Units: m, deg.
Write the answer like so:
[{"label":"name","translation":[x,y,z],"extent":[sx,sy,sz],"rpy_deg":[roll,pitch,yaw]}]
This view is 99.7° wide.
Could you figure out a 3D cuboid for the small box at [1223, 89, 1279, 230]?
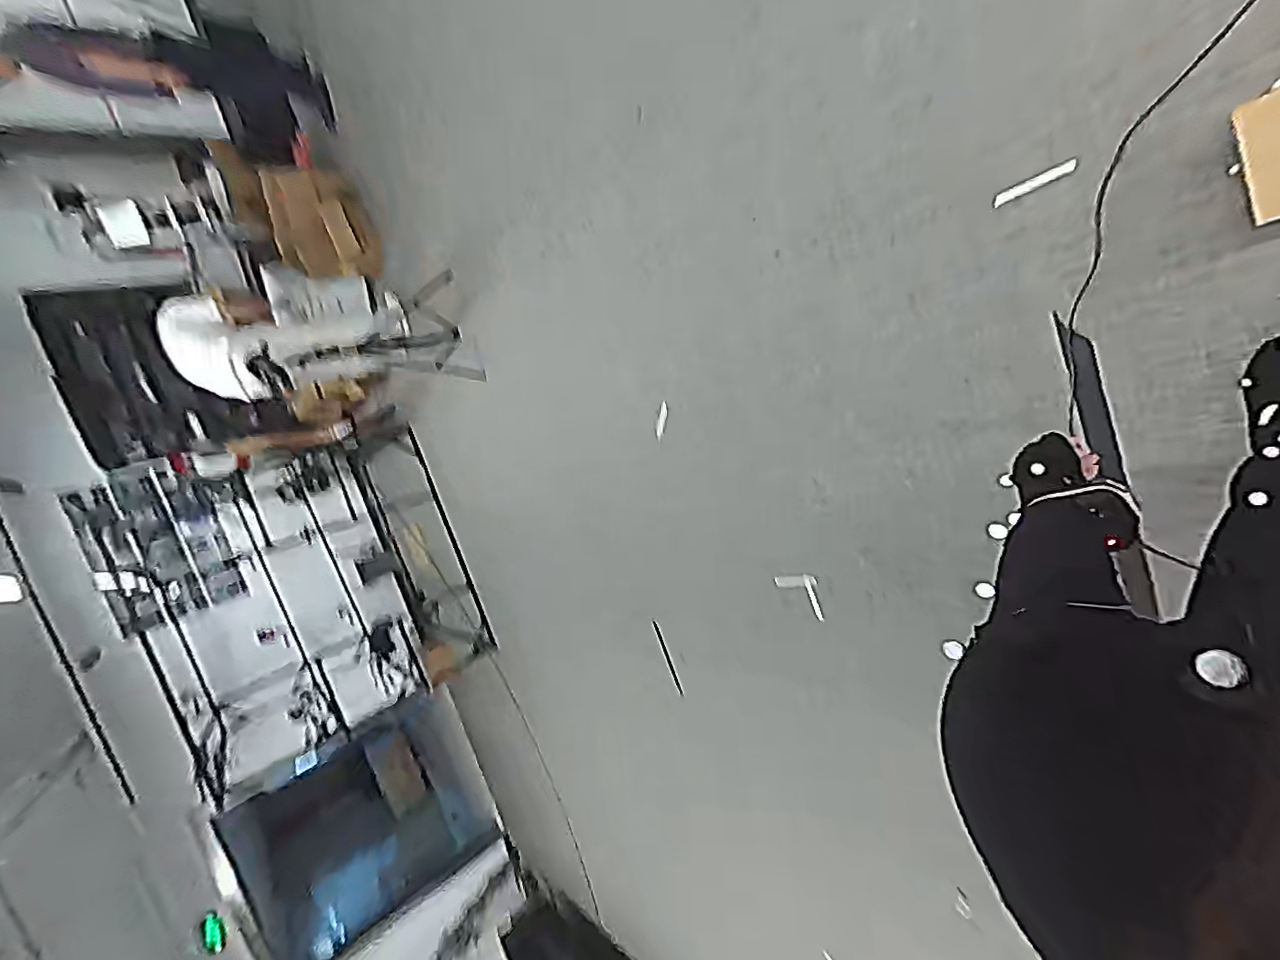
[{"label":"small box","translation":[0.981,-0.484,0.780],"extent":[0.168,0.176,0.179],"rpy_deg":[-12,100,53]}]
